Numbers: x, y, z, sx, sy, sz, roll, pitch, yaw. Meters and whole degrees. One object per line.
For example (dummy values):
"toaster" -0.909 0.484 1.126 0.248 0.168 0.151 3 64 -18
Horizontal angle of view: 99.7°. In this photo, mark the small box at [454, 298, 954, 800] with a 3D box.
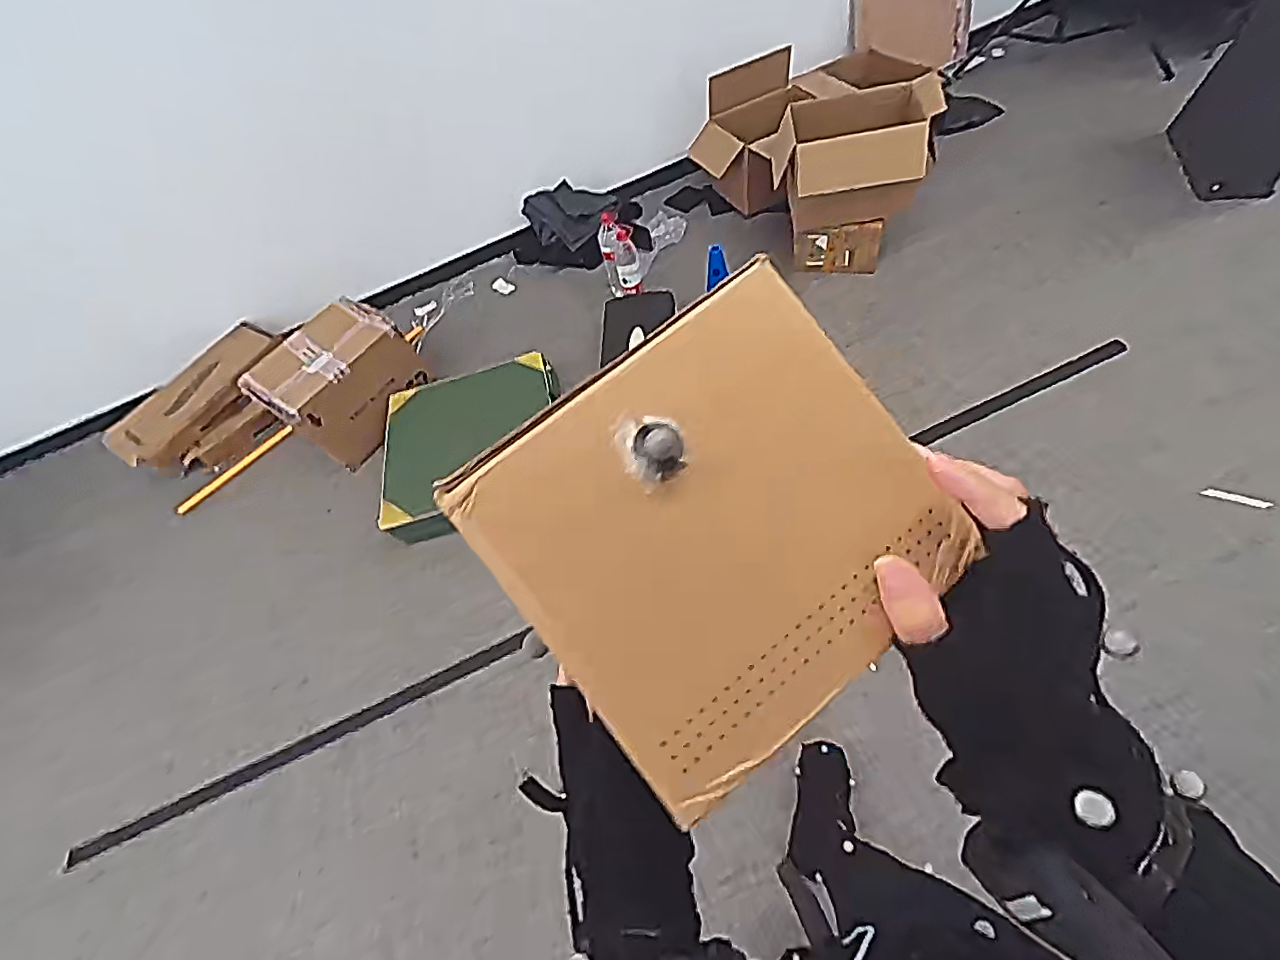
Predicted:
"small box" 0.031 0.038 0.318 0.179 0.168 0.176 -37 87 -7
